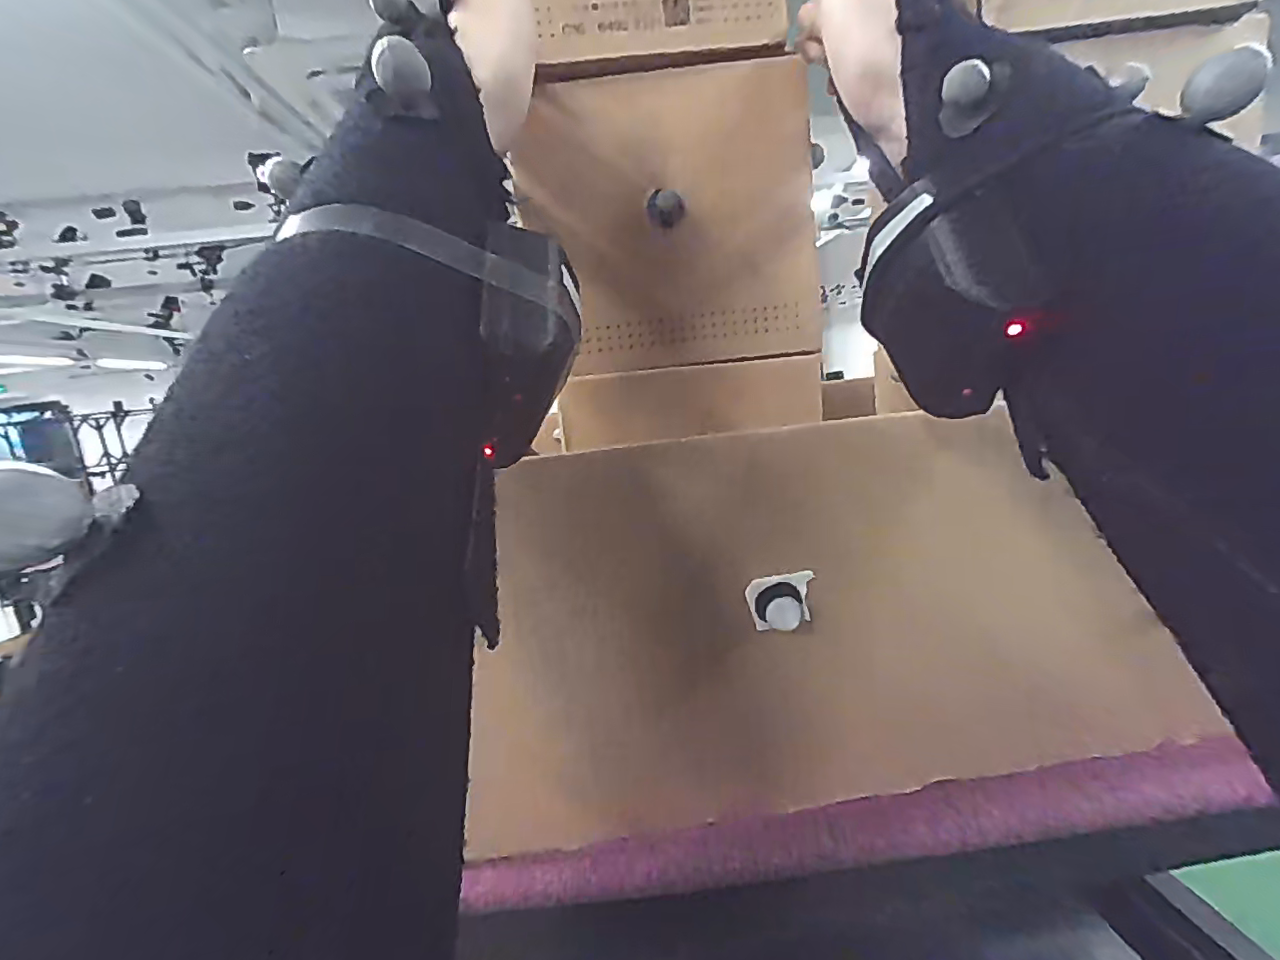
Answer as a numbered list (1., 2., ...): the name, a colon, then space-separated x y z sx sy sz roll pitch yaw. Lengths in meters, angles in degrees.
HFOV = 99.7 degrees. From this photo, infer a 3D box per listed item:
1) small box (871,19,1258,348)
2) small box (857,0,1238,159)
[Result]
1. small box: 0.298 -0.199 0.420 0.168 0.176 0.179 -8 10 0
2. small box: 0.265 -0.356 0.387 0.168 0.176 0.179 -7 10 0
